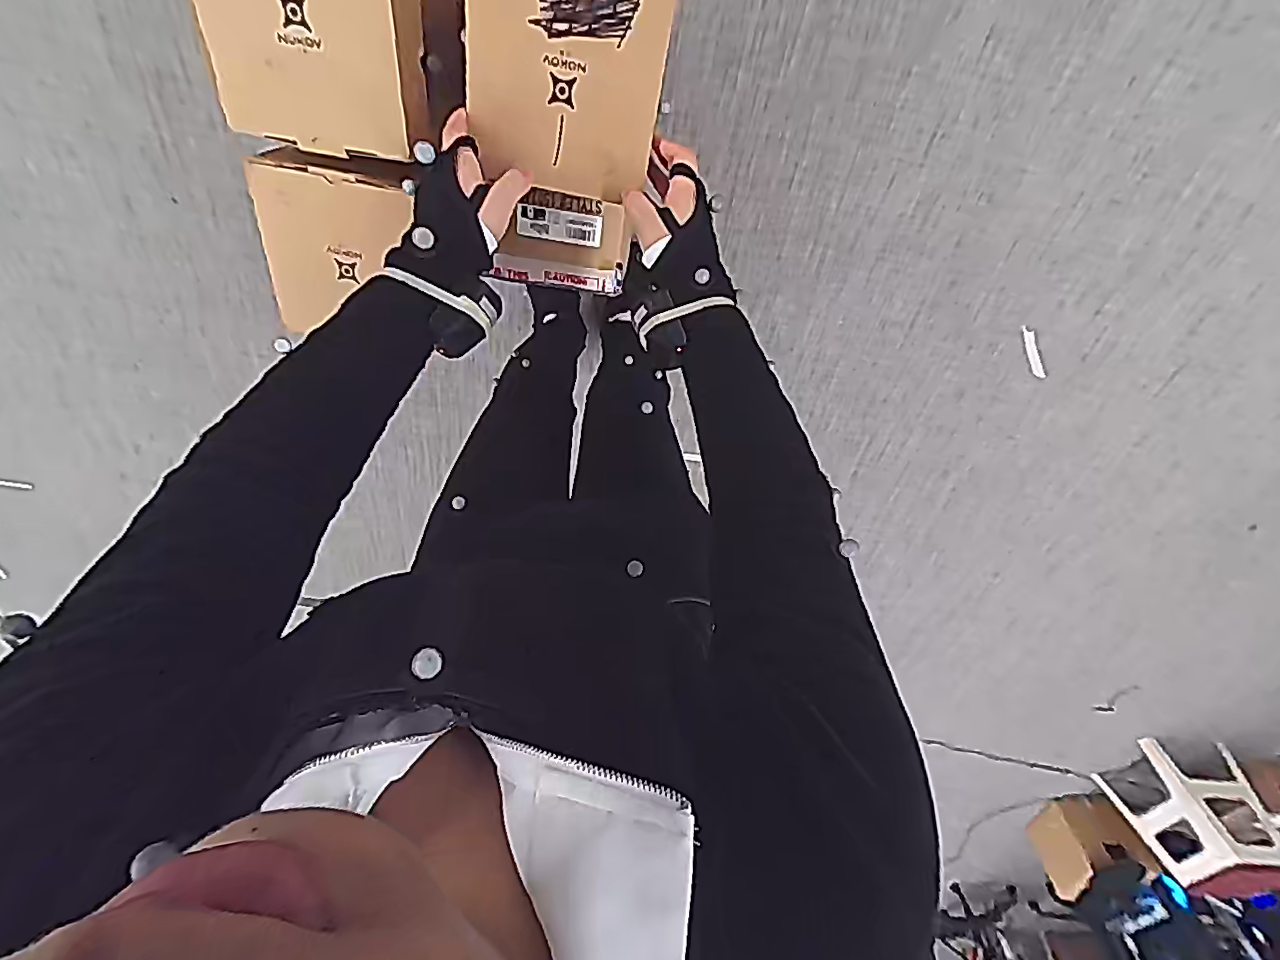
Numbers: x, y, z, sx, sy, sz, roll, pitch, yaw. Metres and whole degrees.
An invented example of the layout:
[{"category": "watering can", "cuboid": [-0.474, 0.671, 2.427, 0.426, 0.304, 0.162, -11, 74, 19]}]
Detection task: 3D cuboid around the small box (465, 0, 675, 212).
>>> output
[{"category": "small box", "cuboid": [-0.067, -0.385, 0.522, 0.168, 0.176, 0.179, 8, 128, -6]}]
